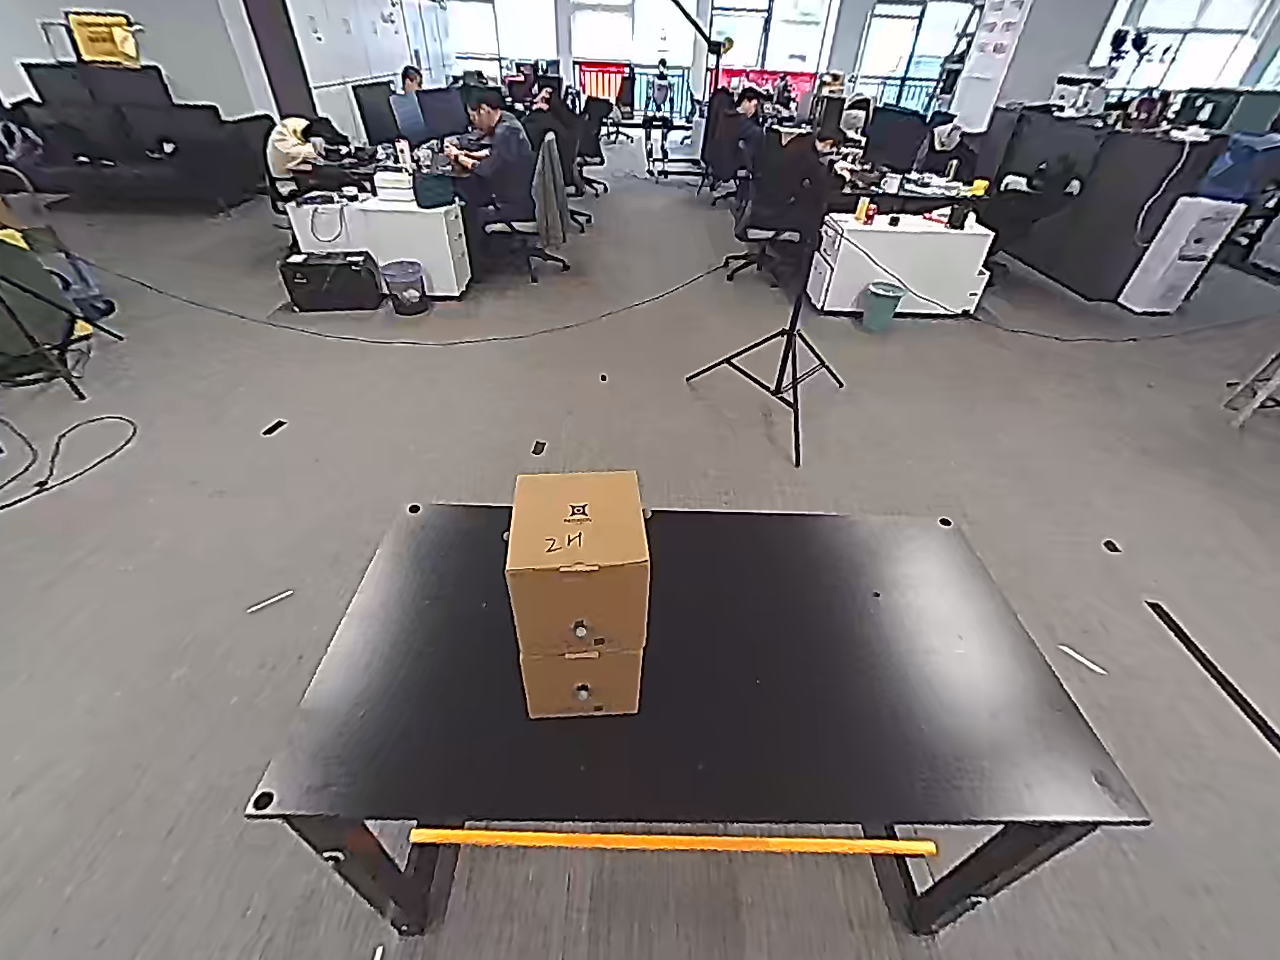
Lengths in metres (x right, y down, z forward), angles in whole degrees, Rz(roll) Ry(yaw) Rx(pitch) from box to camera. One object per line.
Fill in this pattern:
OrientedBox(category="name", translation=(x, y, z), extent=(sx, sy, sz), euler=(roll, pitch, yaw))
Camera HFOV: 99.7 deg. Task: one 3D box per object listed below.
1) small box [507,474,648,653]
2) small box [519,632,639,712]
OrientedBox(category="small box", translation=(-0.082, 0.111, 0.737), extent=(0.168, 0.176, 0.179), euler=(-3, 39, -5))
OrientedBox(category="small box", translation=(-0.088, 0.243, 0.838), extent=(0.168, 0.176, 0.179), euler=(-2, 39, -4))
